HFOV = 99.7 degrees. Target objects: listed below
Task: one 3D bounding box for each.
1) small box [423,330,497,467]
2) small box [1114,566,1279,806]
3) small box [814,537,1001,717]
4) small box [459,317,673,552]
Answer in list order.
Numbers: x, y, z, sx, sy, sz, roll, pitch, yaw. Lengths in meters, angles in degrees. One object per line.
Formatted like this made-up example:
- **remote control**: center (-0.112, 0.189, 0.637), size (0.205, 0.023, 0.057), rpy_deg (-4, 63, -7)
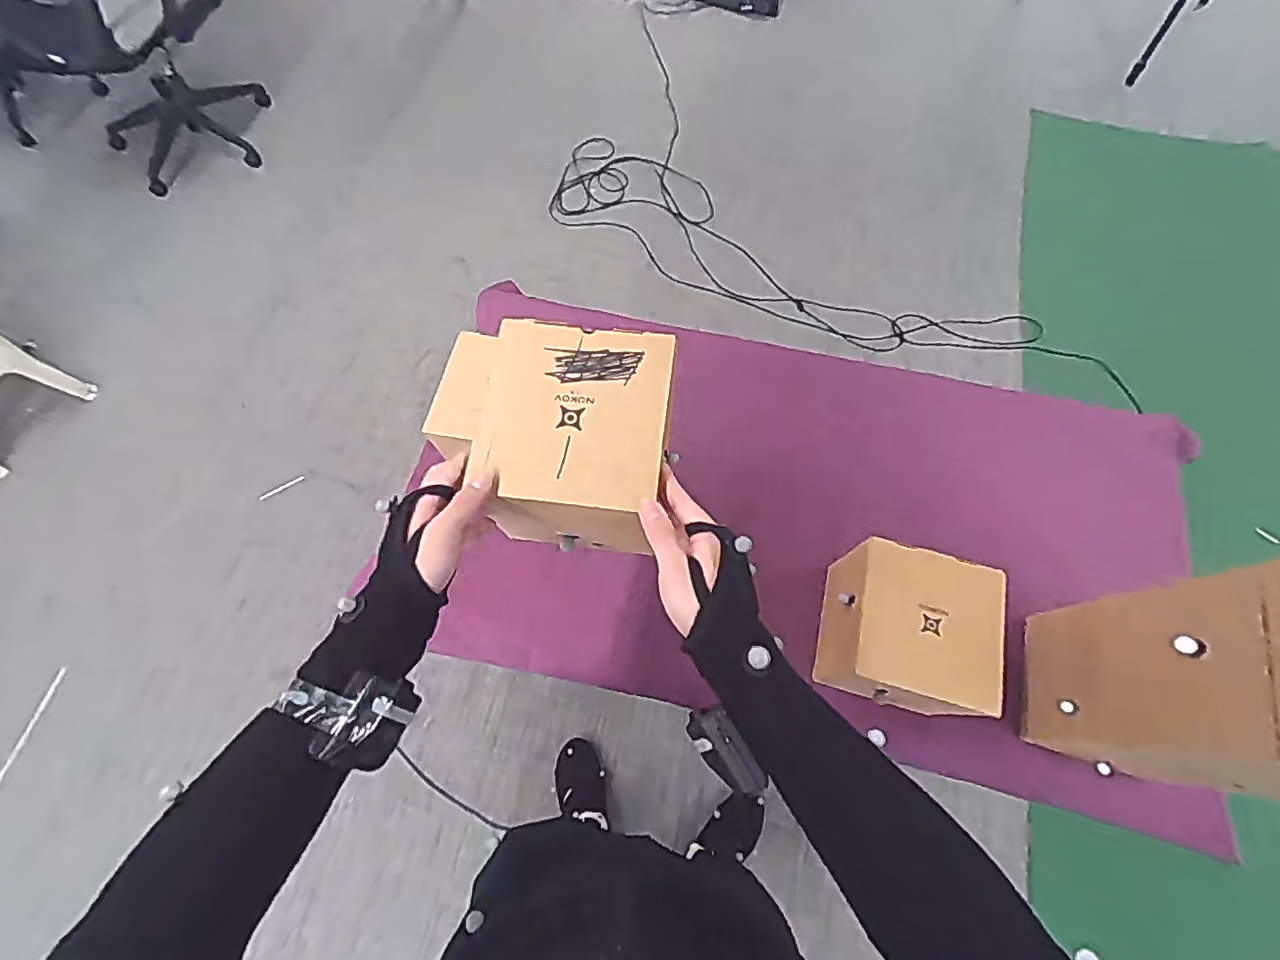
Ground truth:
- **small box**: center (-0.203, -0.101, 0.841), size (0.168, 0.176, 0.179), rpy_deg (10, 69, 5)
- **small box**: center (0.614, 0.209, 0.531), size (0.168, 0.176, 0.179), rpy_deg (17, 68, 8)
- **small box**: center (0.342, 0.200, 0.717), size (0.168, 0.176, 0.179), rpy_deg (15, 67, 7)
- **small box**: center (-0.061, -0.037, 0.552), size (0.168, 0.176, 0.179), rpy_deg (7, 72, 4)
